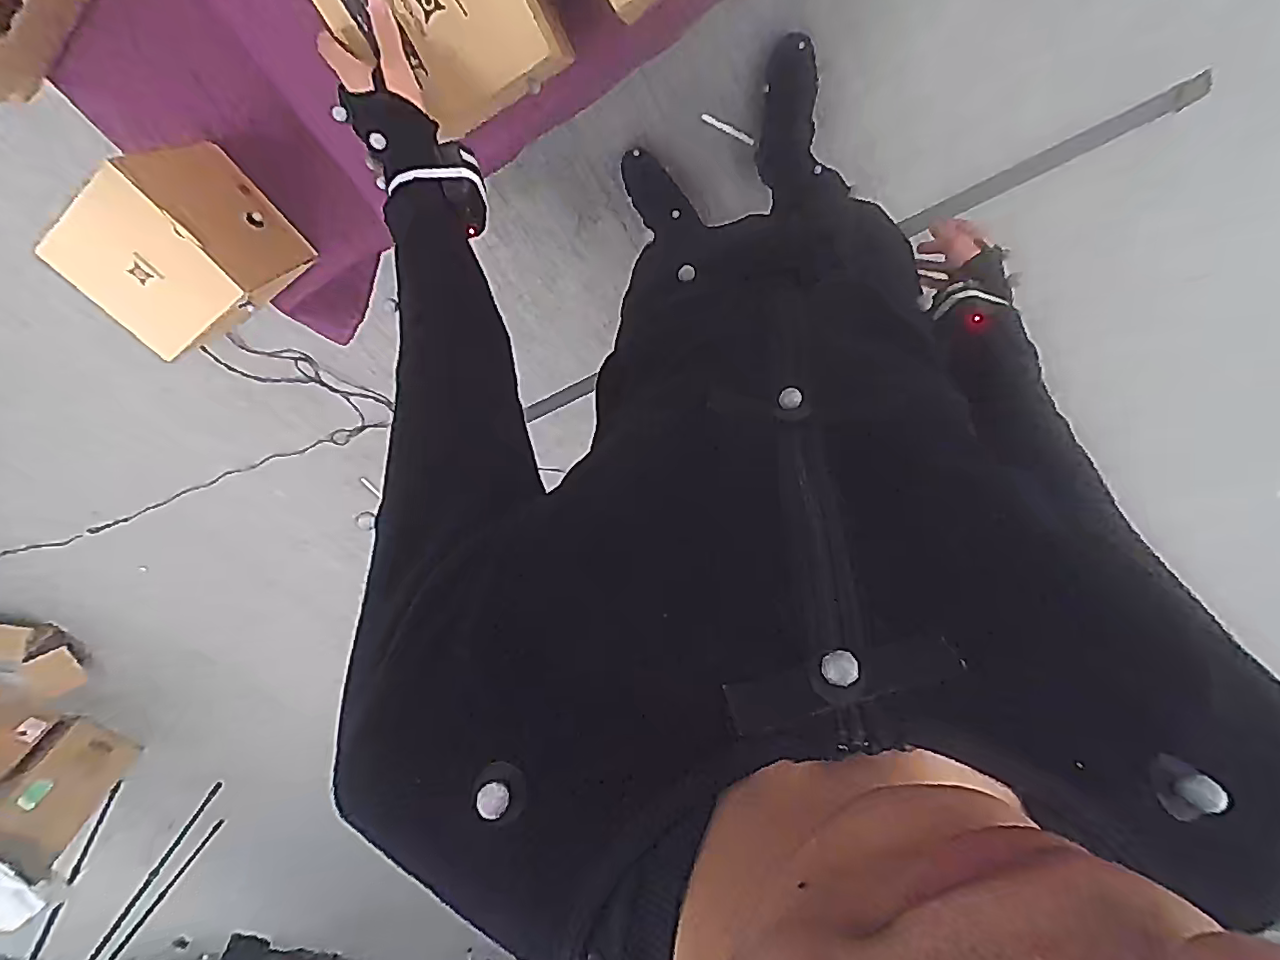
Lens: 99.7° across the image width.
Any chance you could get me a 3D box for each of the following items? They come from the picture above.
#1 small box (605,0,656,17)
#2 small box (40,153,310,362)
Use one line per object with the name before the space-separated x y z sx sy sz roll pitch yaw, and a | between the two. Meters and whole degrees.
small box | 0.000 -0.549 0.466 0.168 0.176 0.179 -26 122 22
small box | -0.577 -0.288 0.698 0.179 0.176 0.168 -27 120 20
